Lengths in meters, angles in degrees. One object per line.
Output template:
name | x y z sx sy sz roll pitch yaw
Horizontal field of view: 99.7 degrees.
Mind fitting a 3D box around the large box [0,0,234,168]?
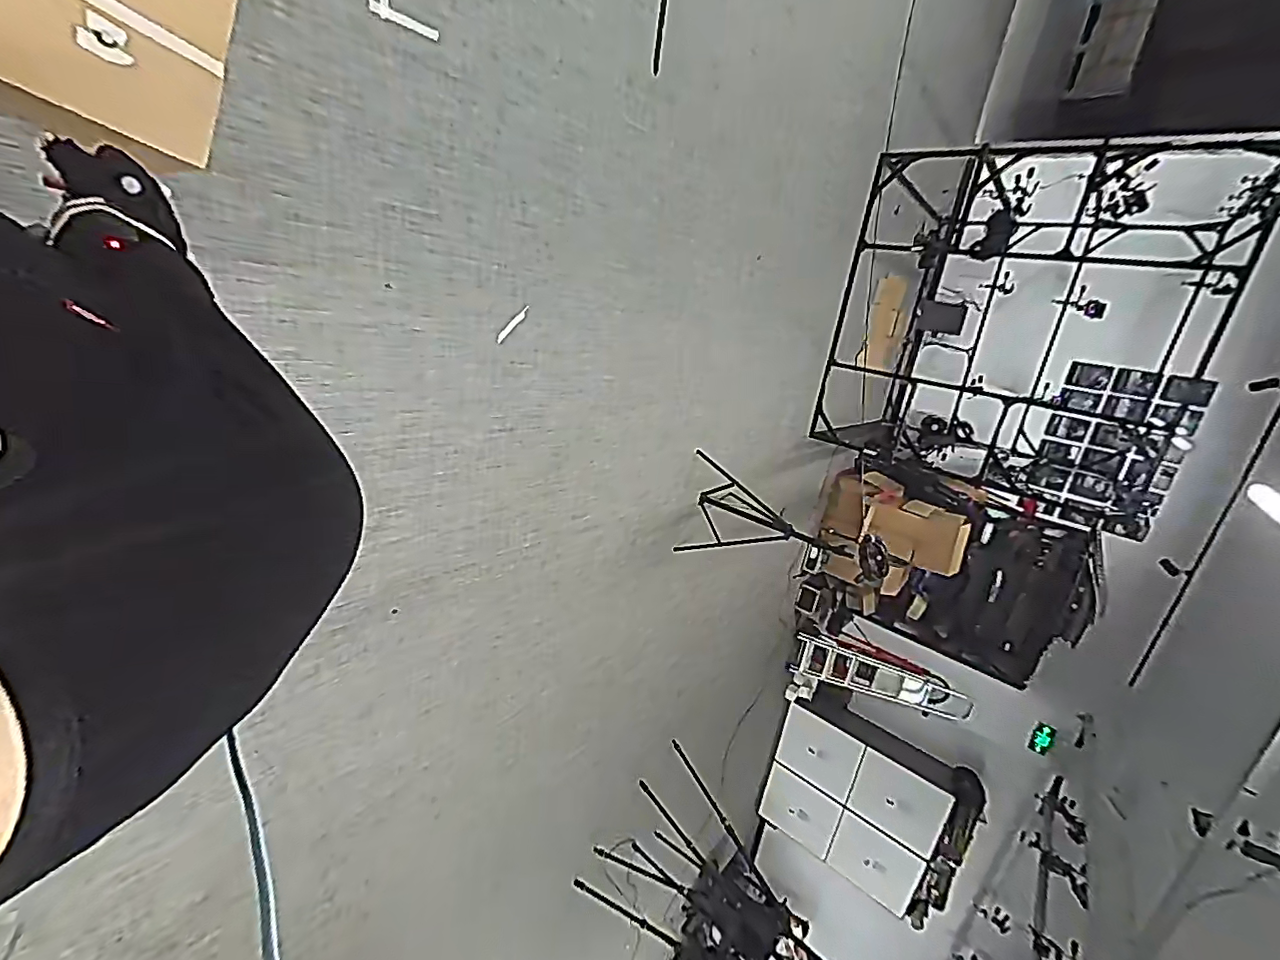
large box | -0.911 -0.723 0.798 0.408 0.320 0.320 8 101 -56
